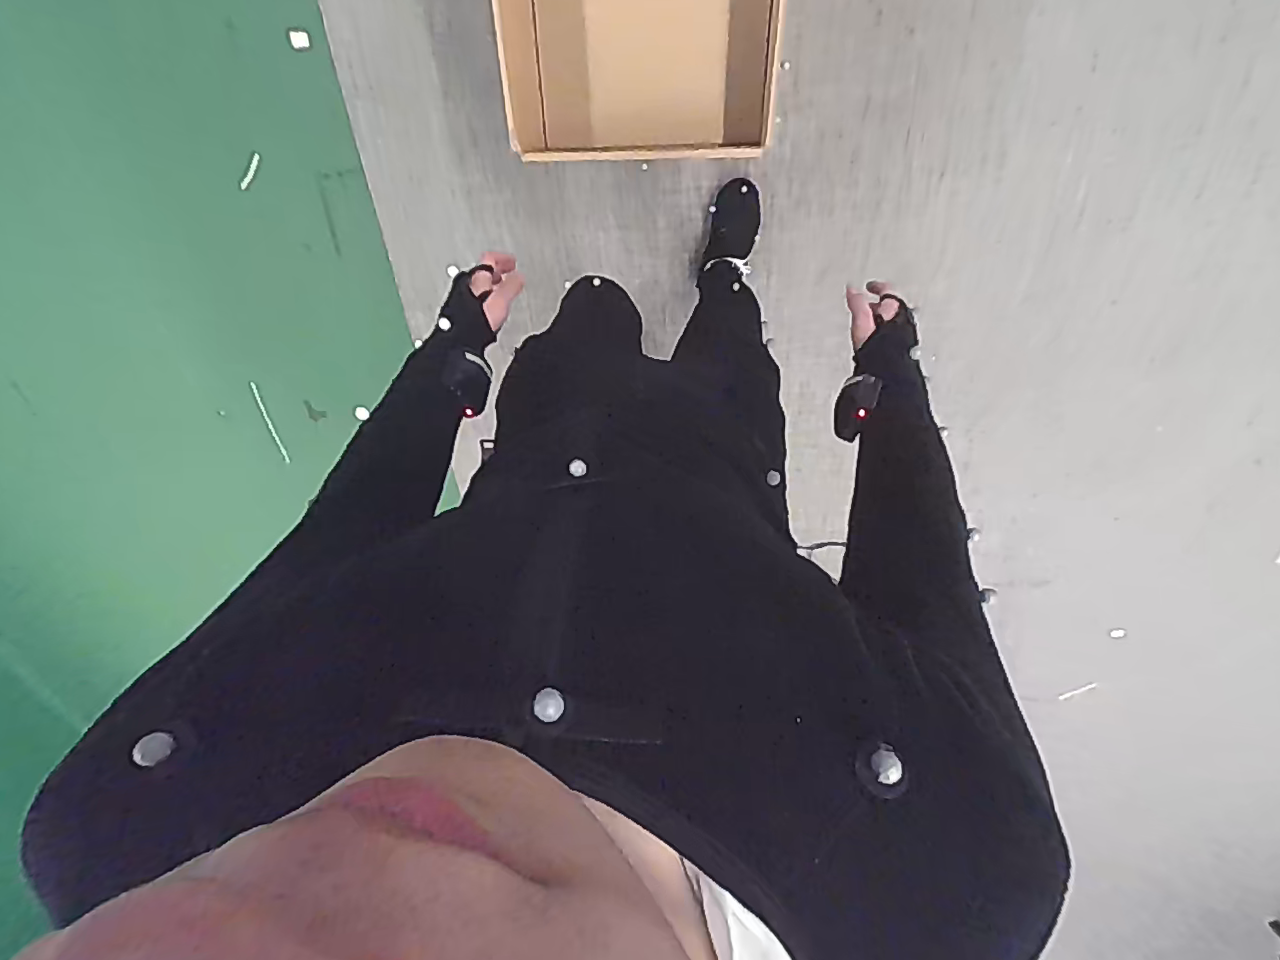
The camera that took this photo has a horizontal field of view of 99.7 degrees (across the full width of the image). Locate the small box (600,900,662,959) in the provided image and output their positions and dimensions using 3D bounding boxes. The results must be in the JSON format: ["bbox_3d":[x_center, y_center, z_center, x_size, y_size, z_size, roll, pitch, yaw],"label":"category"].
[{"bbox_3d":[-0.024,1.502,1.774,0.168,0.176,0.179,1,121,12],"label":"small box"}]
